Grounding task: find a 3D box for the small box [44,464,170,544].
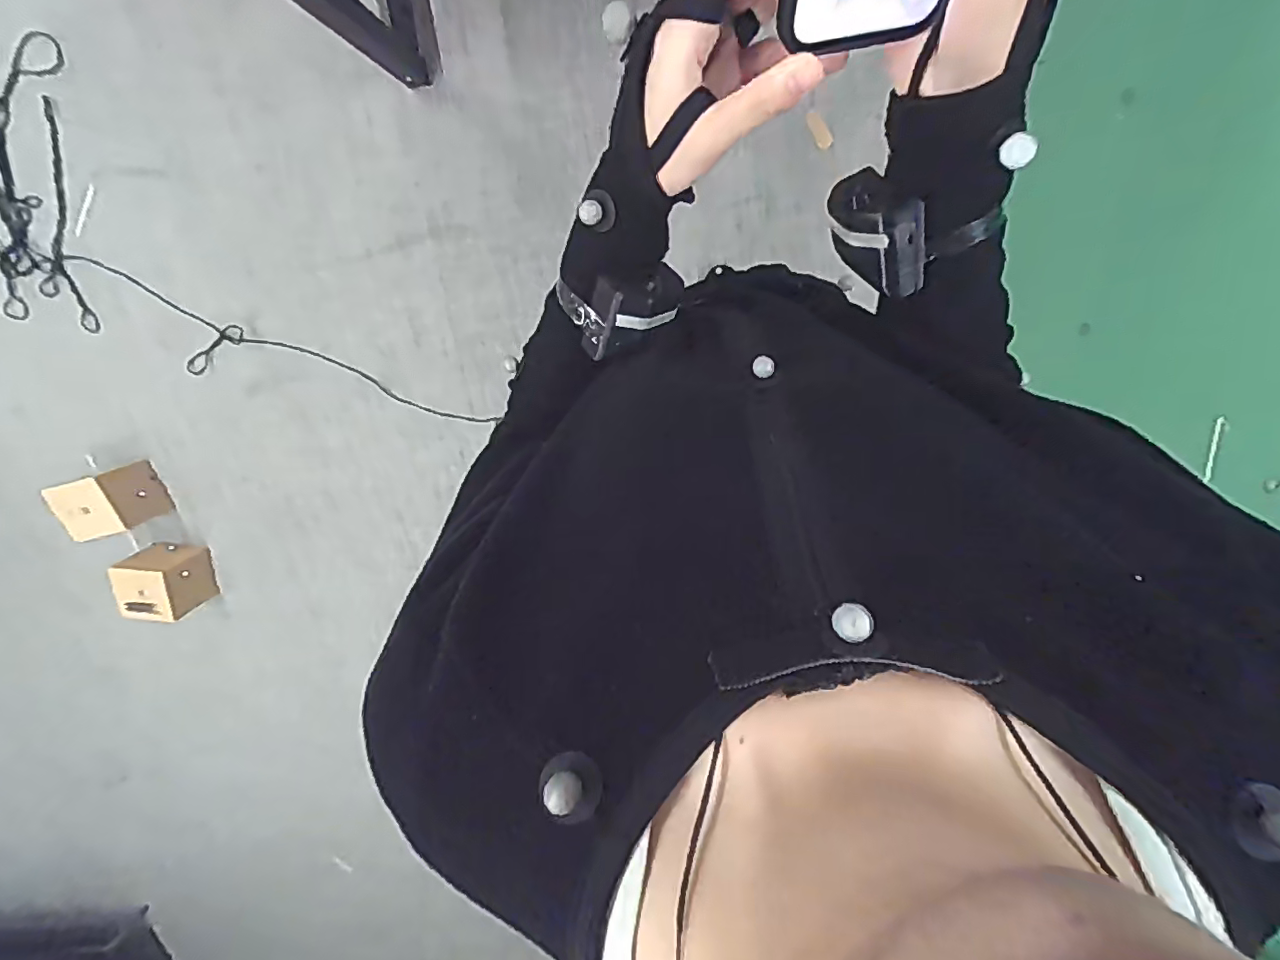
[{"bbox_3d":[-1.522,0.064,1.564,0.179,0.176,0.168,-12,109,8],"label":"small box"}]
